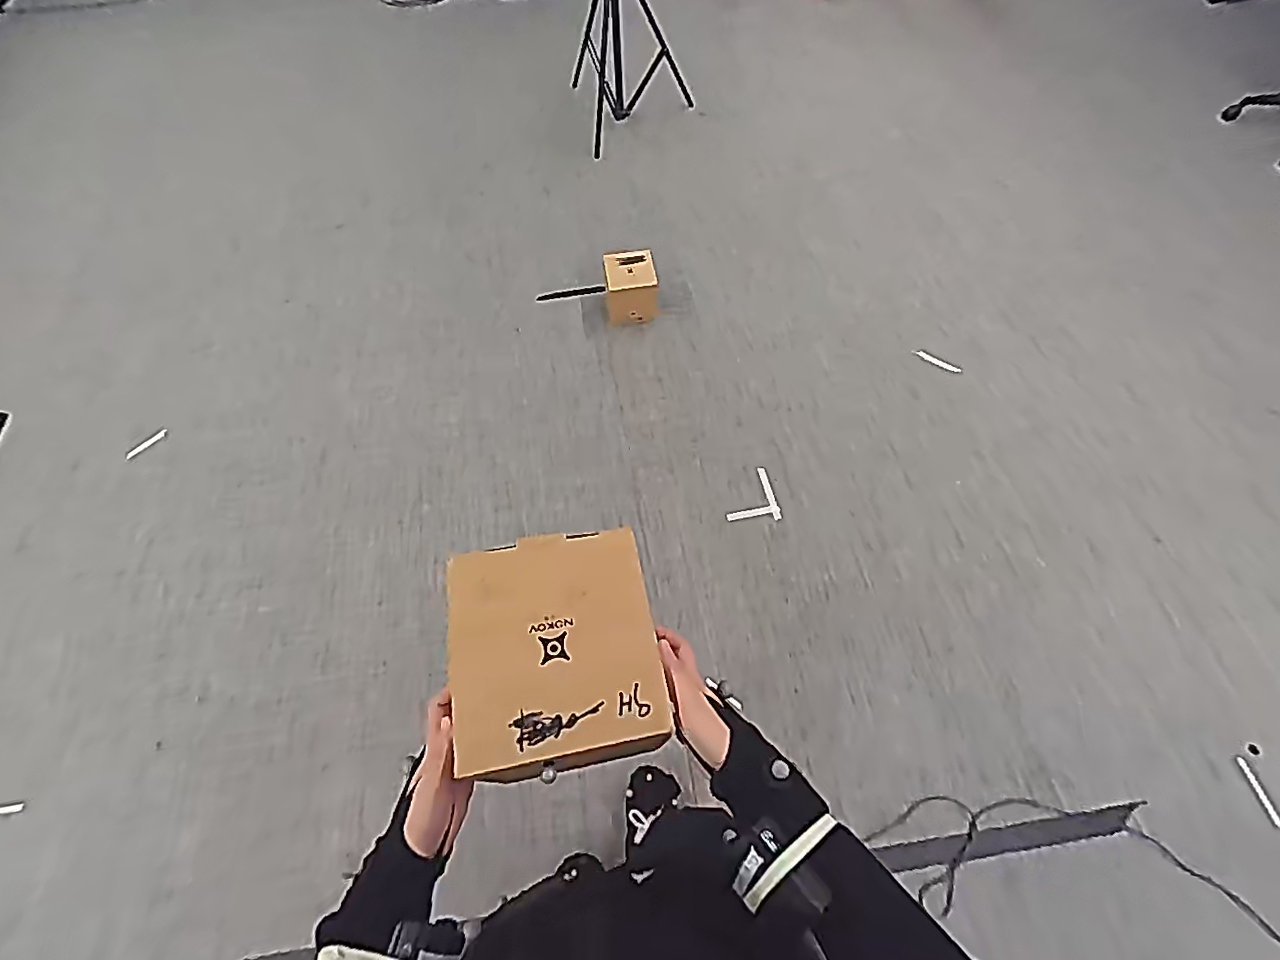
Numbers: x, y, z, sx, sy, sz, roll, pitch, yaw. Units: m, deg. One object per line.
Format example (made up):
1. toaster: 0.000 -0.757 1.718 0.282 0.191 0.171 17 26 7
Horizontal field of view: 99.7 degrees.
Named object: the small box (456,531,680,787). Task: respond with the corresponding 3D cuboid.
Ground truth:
1. small box: -0.069 0.171 0.506 0.168 0.176 0.179 -9 60 -8
